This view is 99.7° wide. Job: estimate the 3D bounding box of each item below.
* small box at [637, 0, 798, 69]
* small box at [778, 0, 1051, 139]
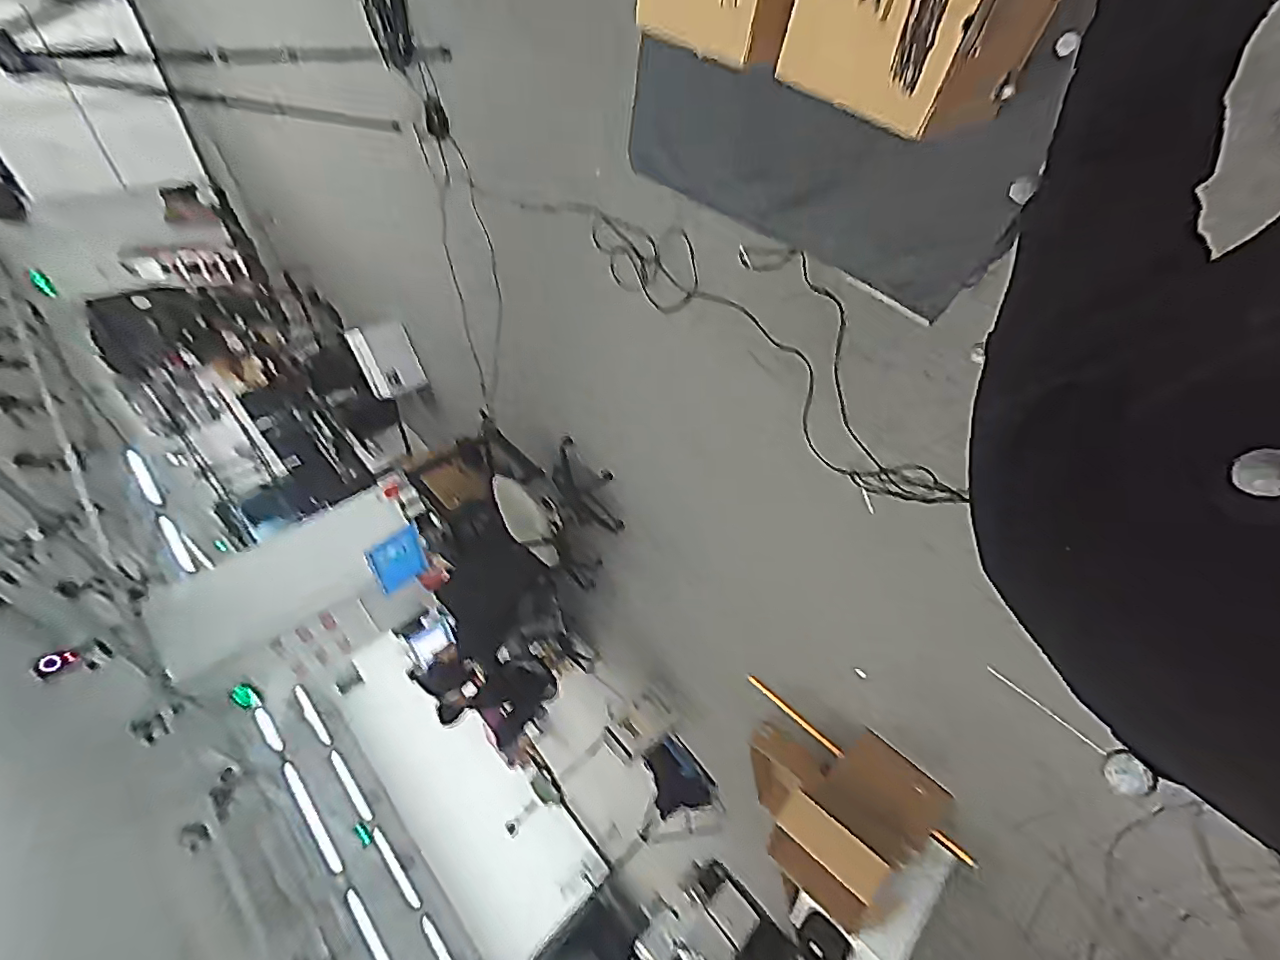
[{"bbox_3d":[0.124,-0.584,0.600,0.179,0.176,0.168,42,146,24],"label":"small box"},{"bbox_3d":[0.271,-0.454,0.509,0.179,0.176,0.168,44,146,24],"label":"small box"}]
